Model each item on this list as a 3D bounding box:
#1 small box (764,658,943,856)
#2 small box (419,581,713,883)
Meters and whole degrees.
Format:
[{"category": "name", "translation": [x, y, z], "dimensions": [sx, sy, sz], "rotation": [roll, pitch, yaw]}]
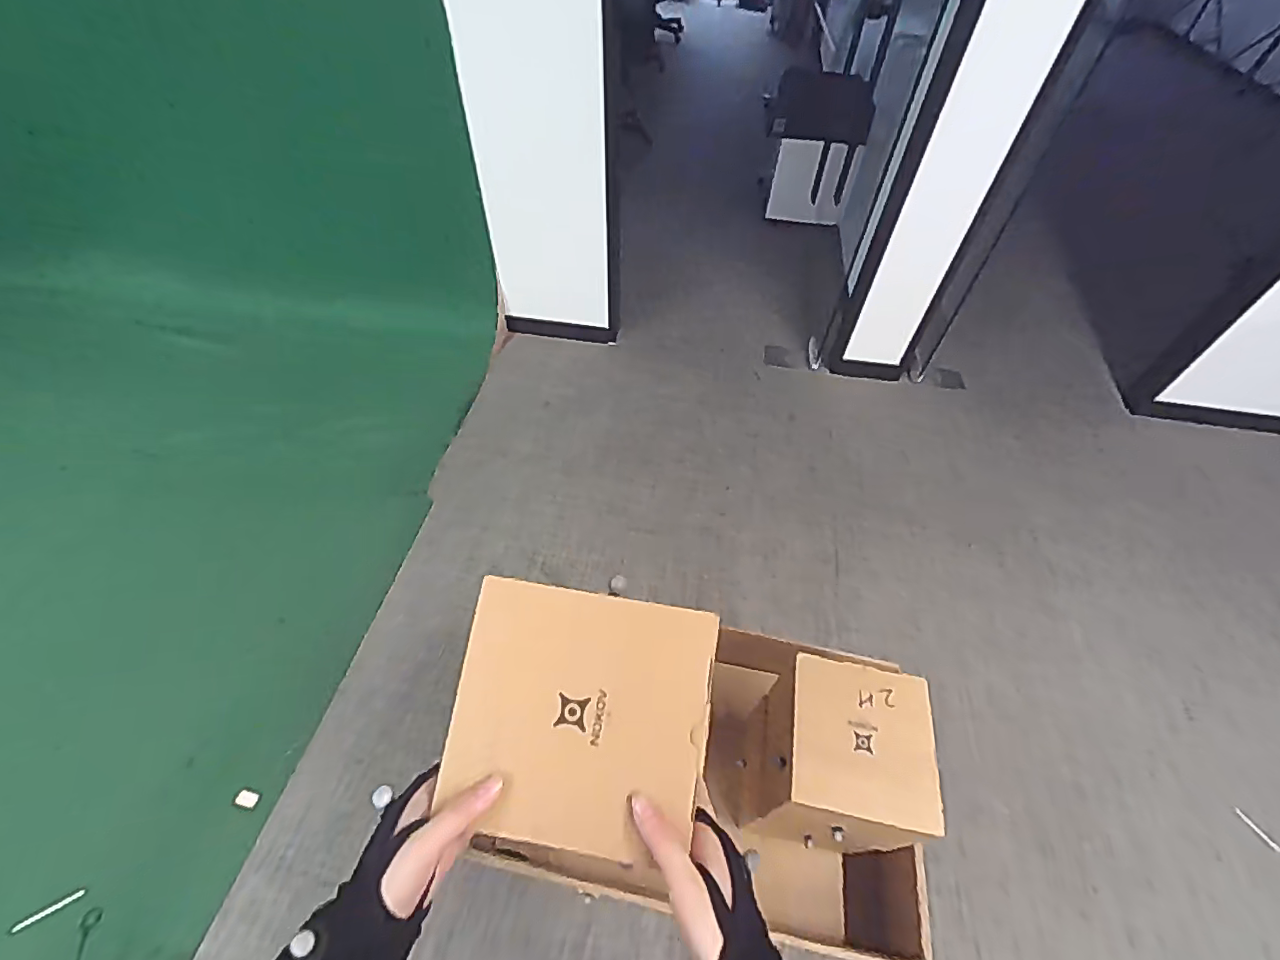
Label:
[{"category": "small box", "translation": [0.260, 0.359, 0.694], "dimensions": [0.168, 0.176, 0.179], "rotation": [11, 52, 7]}, {"category": "small box", "translation": [-0.044, 0.184, 0.444], "dimensions": [0.179, 0.176, 0.168], "rotation": [9, 77, 4]}]
